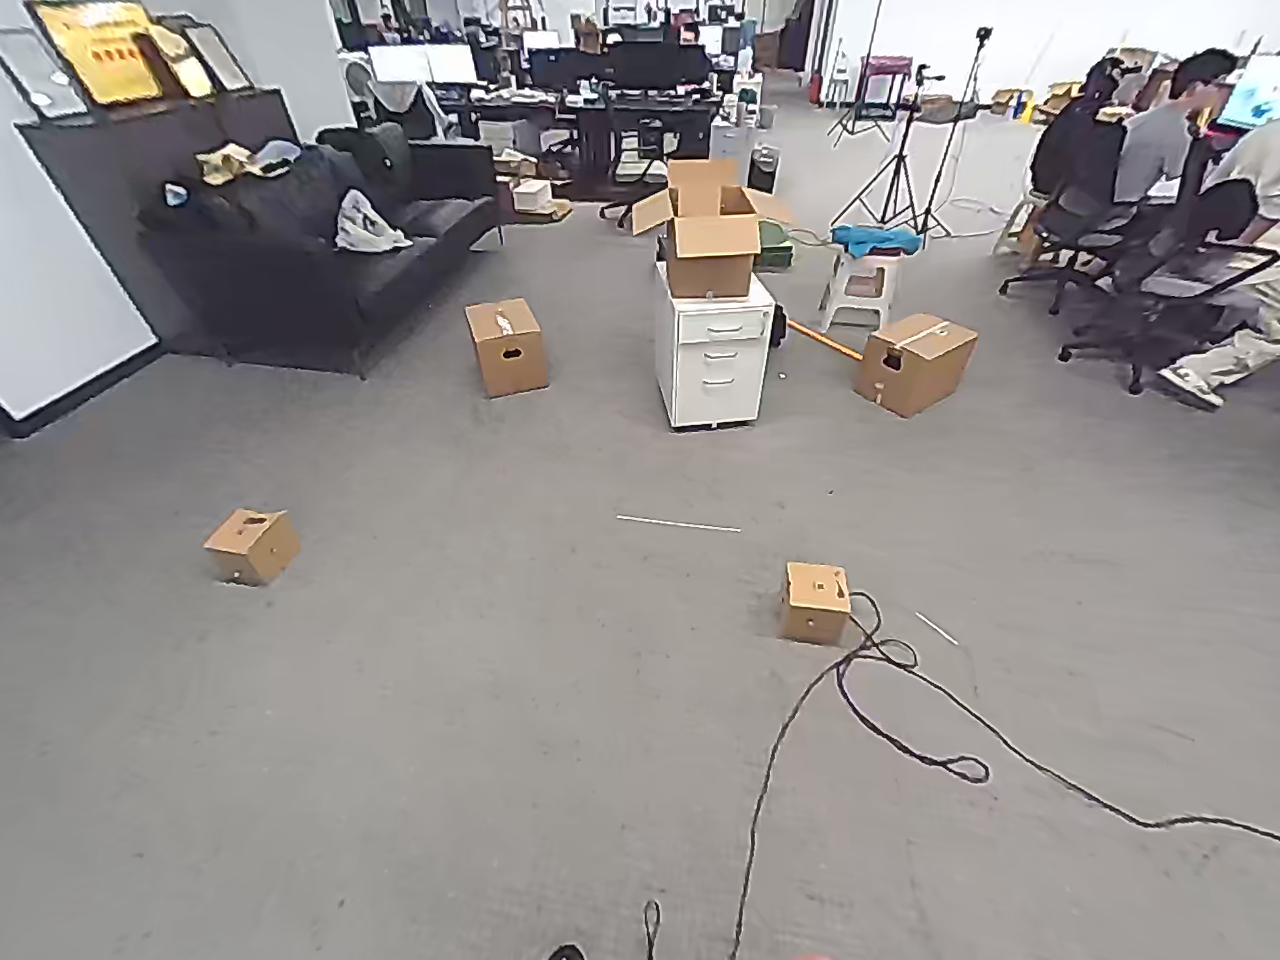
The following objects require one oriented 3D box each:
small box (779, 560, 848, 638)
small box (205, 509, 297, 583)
[{"bbox_3d":[0.526,0.368,1.669,0.179,0.176,0.168,4,43,7],"label":"small box"},{"bbox_3d":[-1.334,0.229,1.873,0.168,0.176,0.179,7,43,9],"label":"small box"}]
